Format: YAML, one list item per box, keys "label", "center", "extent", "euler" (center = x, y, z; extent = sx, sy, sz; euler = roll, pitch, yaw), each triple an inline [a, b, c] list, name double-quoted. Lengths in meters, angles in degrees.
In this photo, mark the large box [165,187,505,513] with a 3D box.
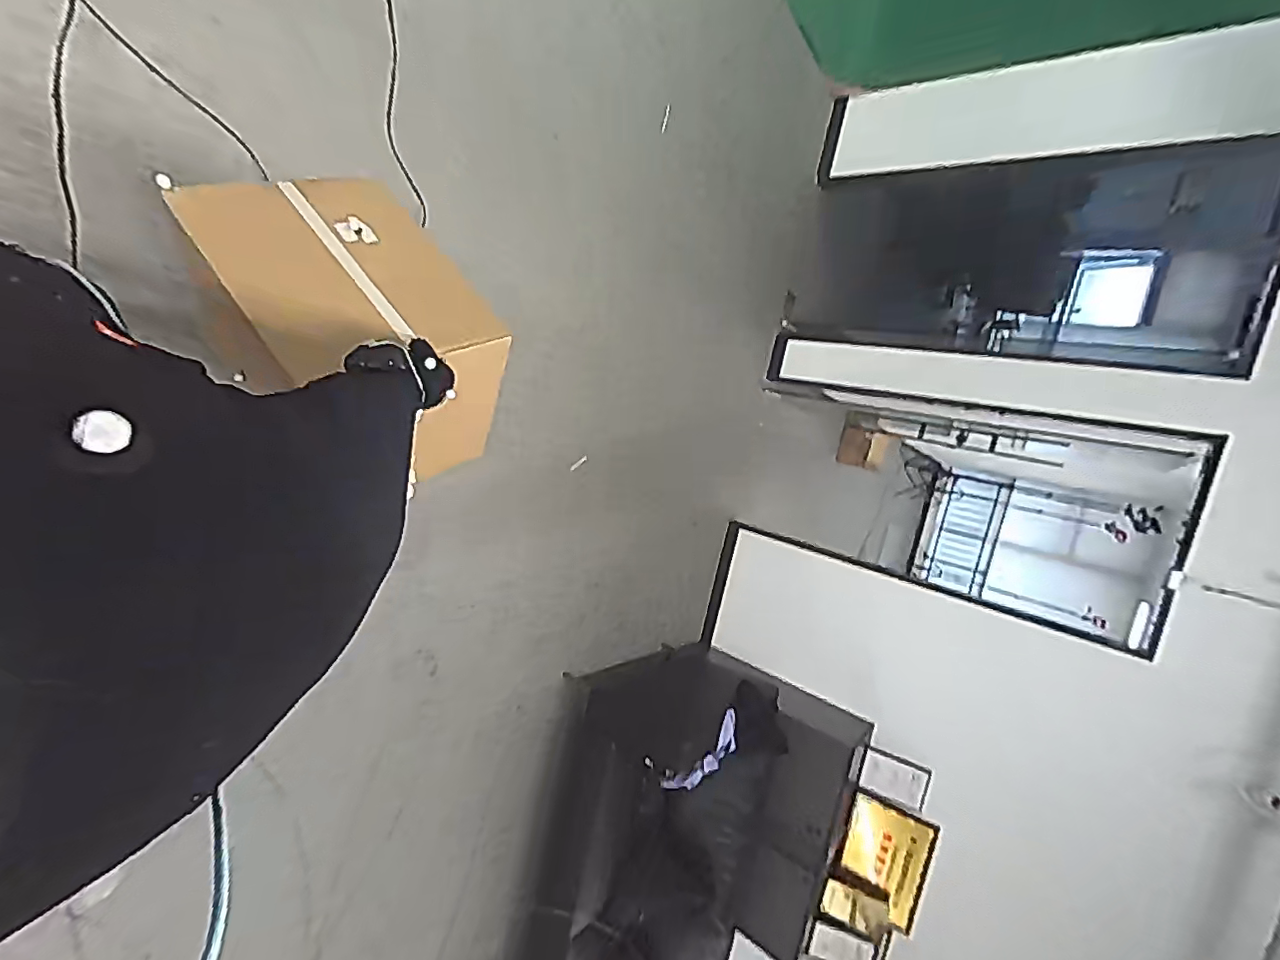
- label: "large box"
  center: [-0.492, -0.225, 0.917]
  extent: [0.320, 0.408, 0.320]
  euler: [-29, 161, -40]
